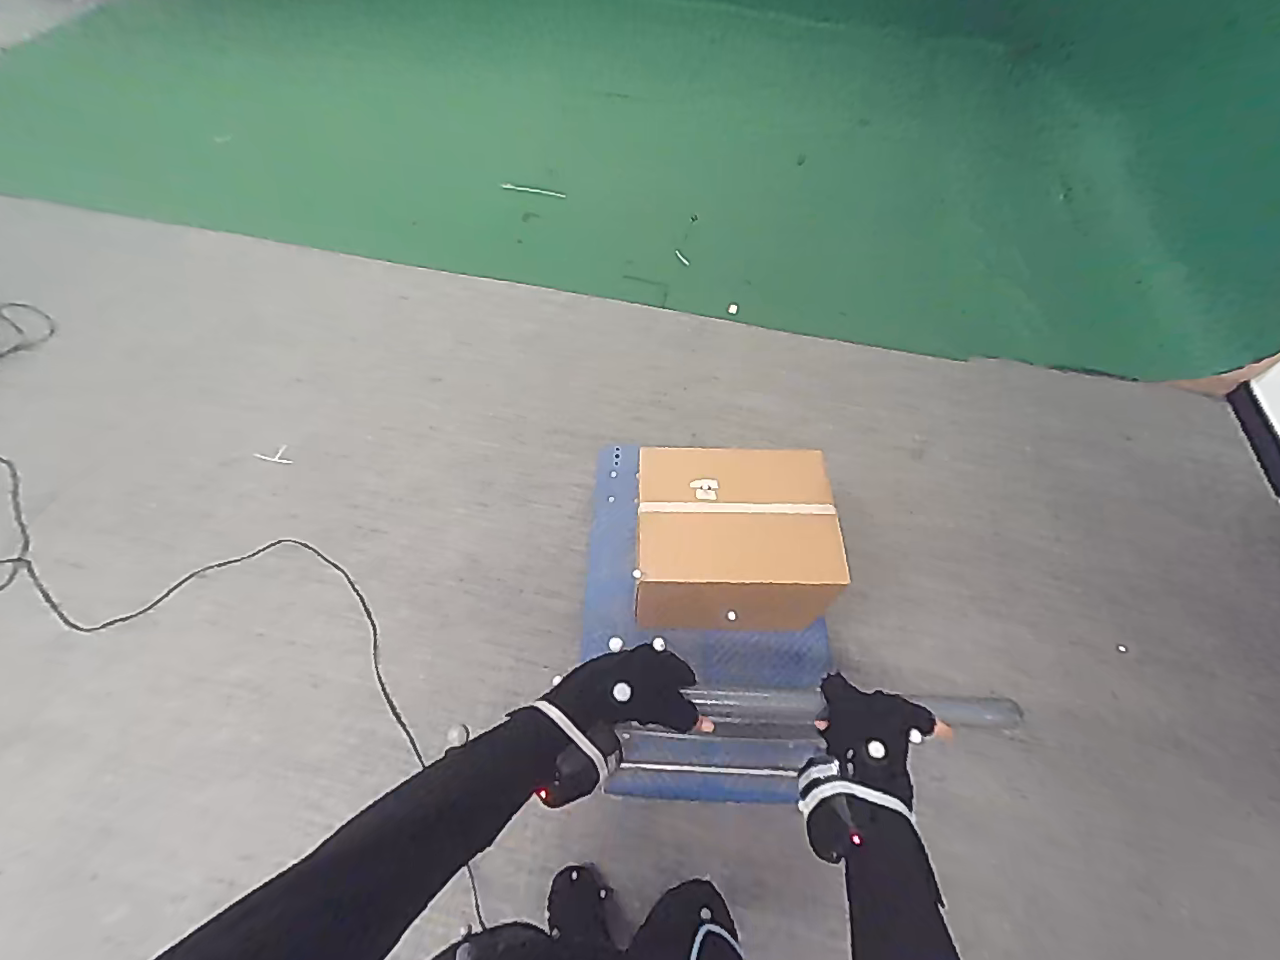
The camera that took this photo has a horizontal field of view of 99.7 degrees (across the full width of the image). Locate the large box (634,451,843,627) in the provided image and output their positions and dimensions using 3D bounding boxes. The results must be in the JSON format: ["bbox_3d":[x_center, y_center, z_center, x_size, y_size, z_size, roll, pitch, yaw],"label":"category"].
[{"bbox_3d":[0.191,0.144,1.239,0.408,0.320,0.320,1,57,-1],"label":"large box"}]
